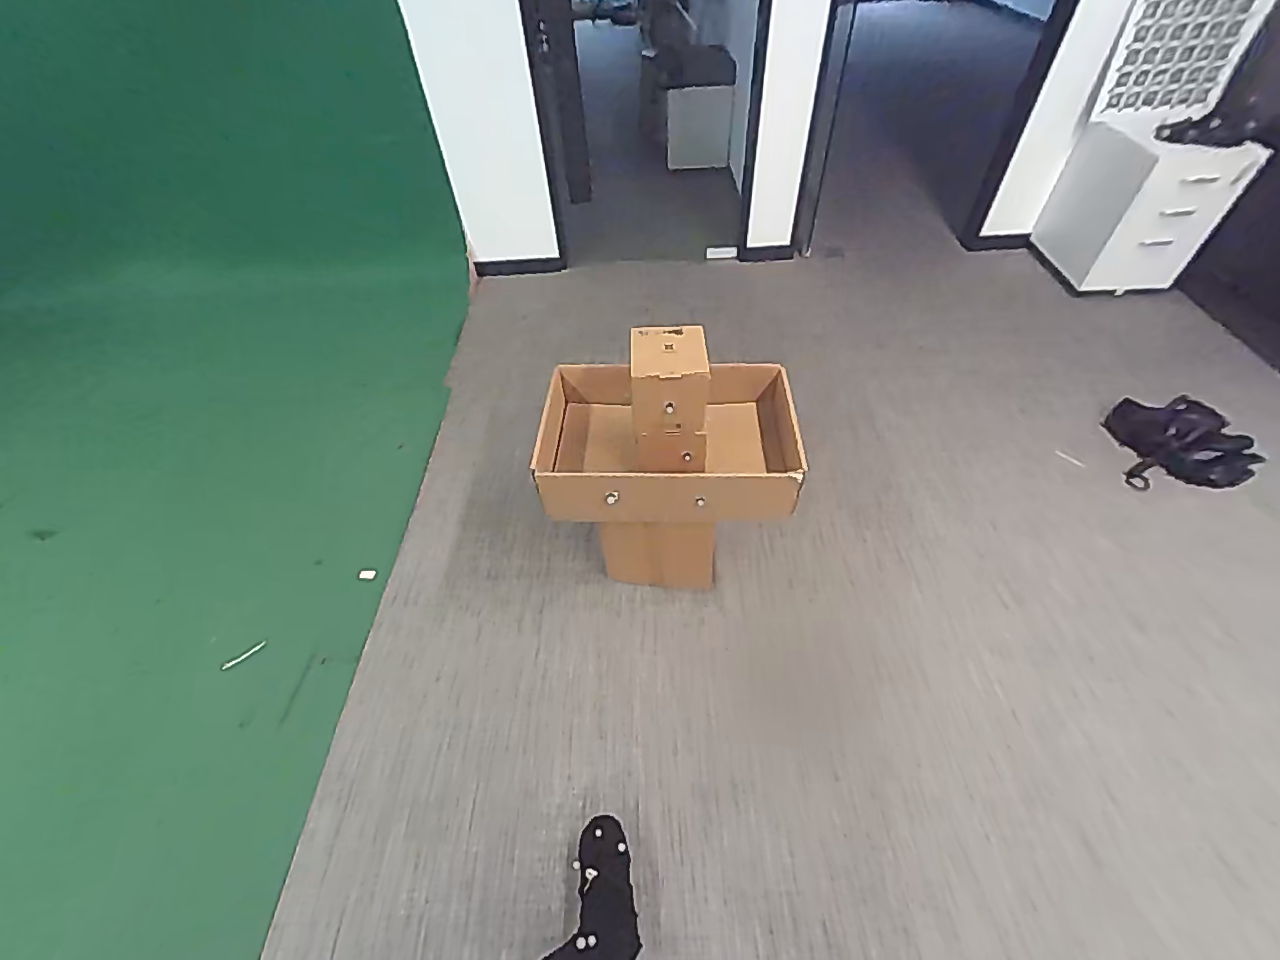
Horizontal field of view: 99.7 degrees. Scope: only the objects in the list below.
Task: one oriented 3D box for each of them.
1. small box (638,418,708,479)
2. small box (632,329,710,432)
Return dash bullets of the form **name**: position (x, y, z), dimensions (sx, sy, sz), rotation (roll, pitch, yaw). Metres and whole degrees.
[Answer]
- **small box**: position (0.080, -0.114, 1.357), dimensions (0.168, 0.176, 0.179), rotation (-1, 47, 1)
- **small box**: position (0.069, -0.224, 1.236), dimensions (0.168, 0.176, 0.179), rotation (-1, 50, 1)
